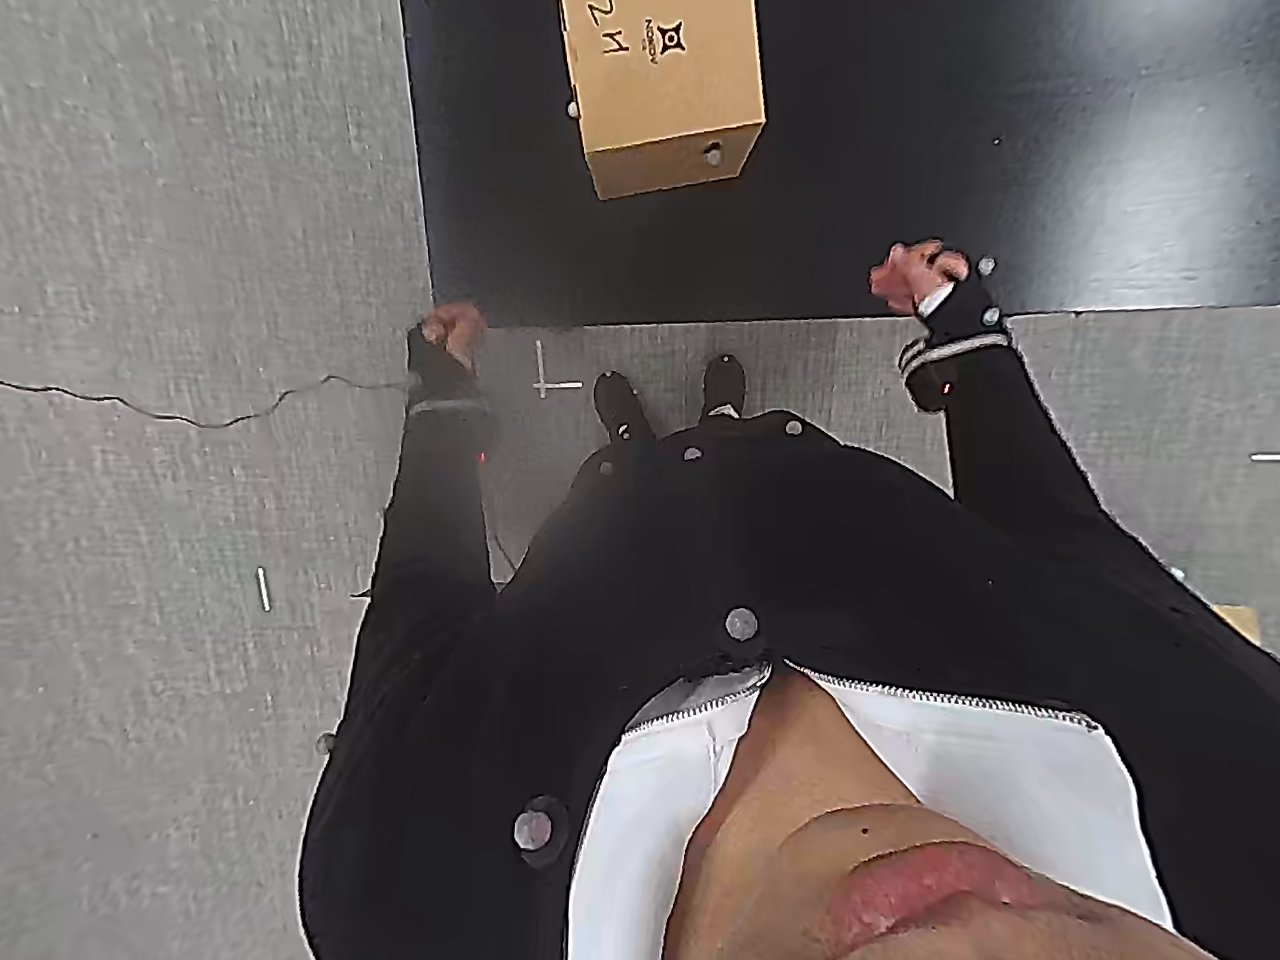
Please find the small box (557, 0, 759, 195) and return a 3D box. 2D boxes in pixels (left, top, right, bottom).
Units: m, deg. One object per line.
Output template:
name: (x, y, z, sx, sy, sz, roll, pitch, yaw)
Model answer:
small box: (0.018, -0.424, 0.576, 0.179, 0.176, 0.168, -8, 103, 3)
